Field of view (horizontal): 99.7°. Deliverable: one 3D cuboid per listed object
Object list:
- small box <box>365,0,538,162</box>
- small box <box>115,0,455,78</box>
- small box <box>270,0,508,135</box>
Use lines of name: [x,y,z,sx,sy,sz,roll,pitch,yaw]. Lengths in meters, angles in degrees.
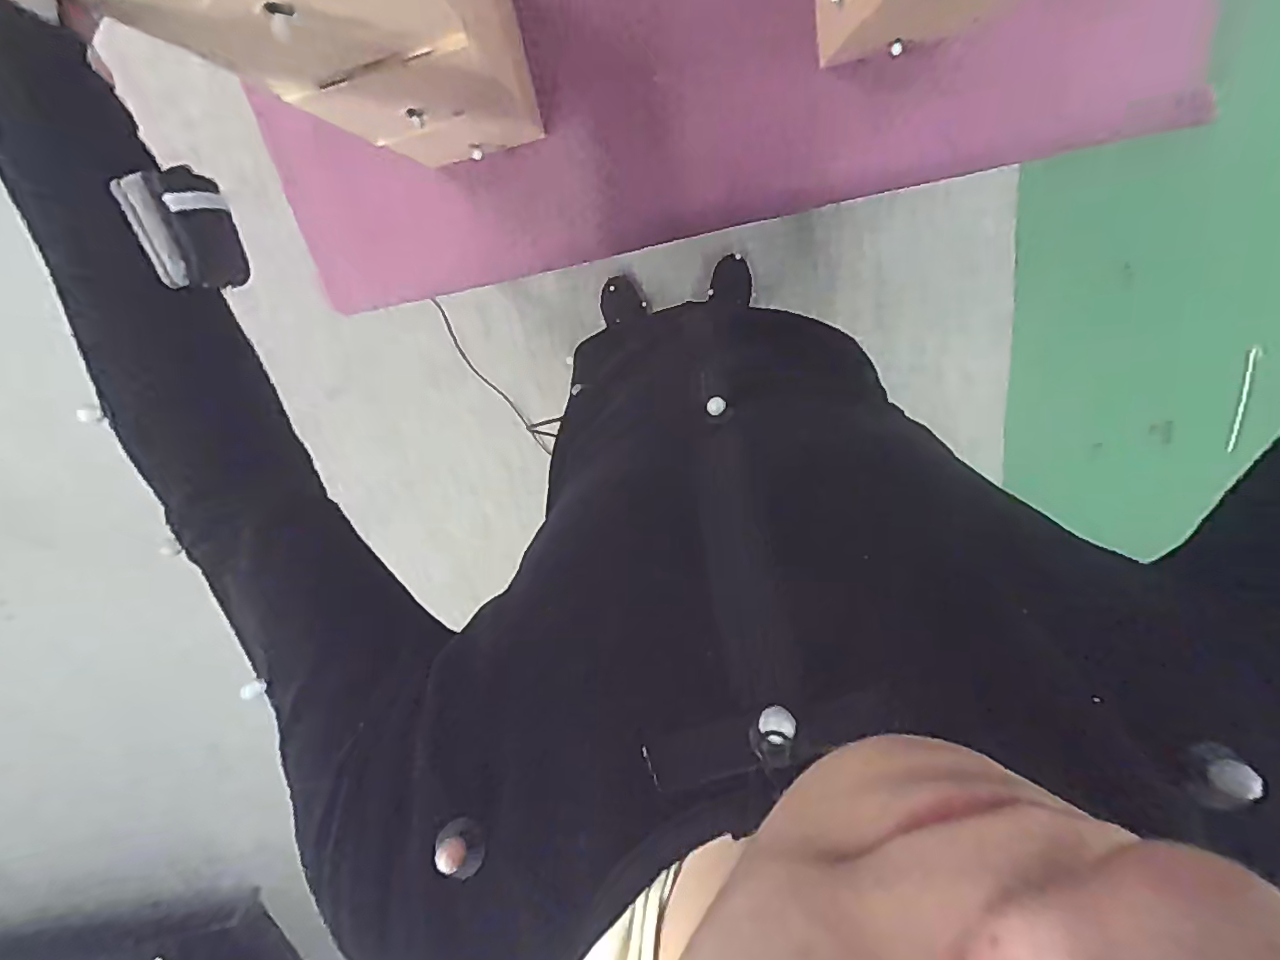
small box: [-0.232,-0.498,0.630,0.168,0.176,0.179,-11,111,6]
small box: [-0.240,-0.381,0.326,0.179,0.176,0.168,-13,111,8]
small box: [-0.236,-0.440,0.479,0.168,0.176,0.179,-12,111,6]
